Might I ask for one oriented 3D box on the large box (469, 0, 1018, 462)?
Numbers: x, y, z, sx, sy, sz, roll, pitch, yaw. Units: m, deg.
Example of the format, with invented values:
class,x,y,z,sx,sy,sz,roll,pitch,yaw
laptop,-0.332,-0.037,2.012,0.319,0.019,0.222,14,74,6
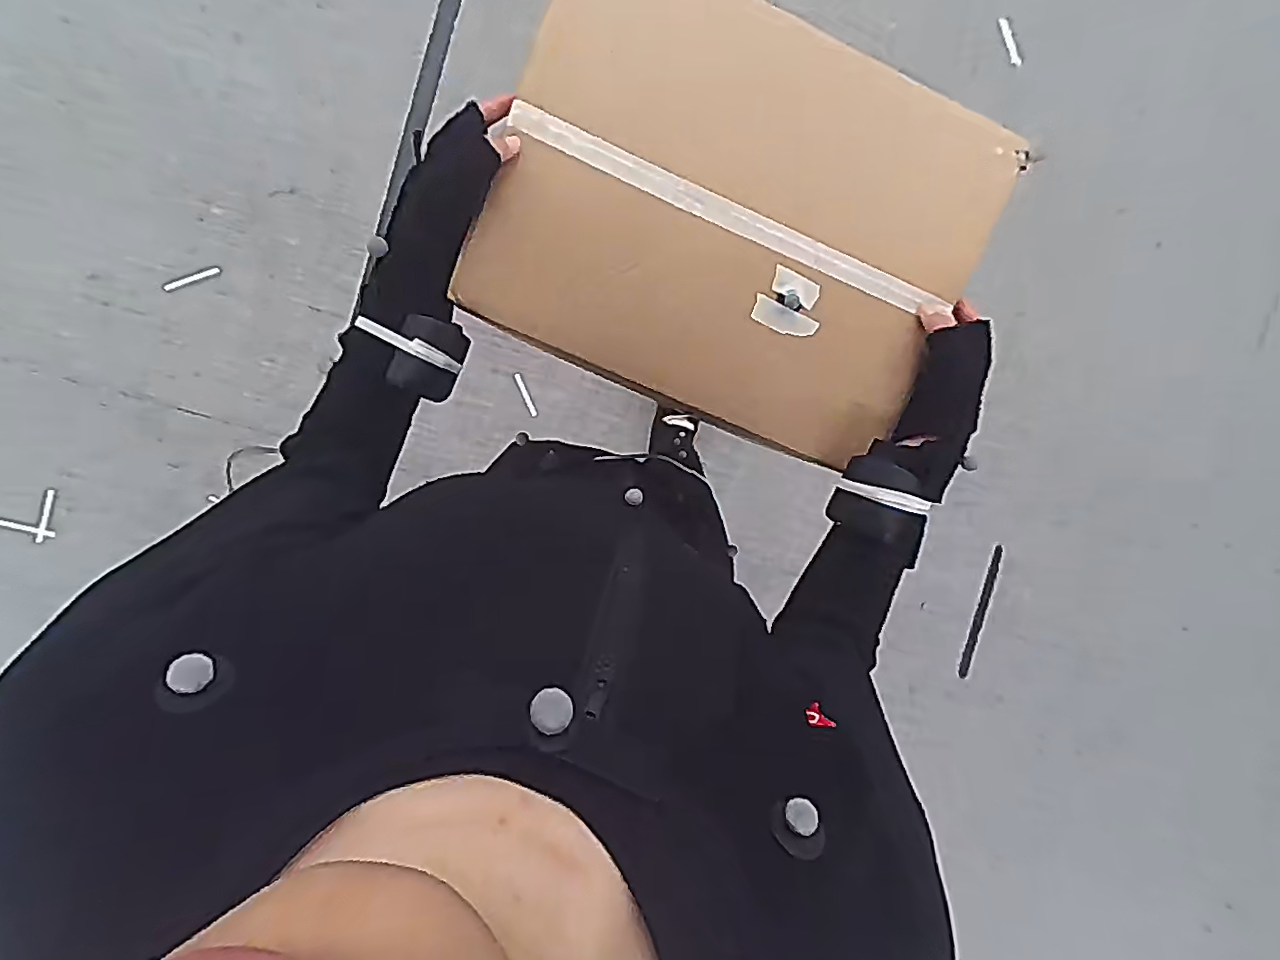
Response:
class,x,y,z,sx,sy,sz,roll,pitch,yaw
large box,0.080,-0.250,0.611,0.408,0.320,0.320,23,98,-7
